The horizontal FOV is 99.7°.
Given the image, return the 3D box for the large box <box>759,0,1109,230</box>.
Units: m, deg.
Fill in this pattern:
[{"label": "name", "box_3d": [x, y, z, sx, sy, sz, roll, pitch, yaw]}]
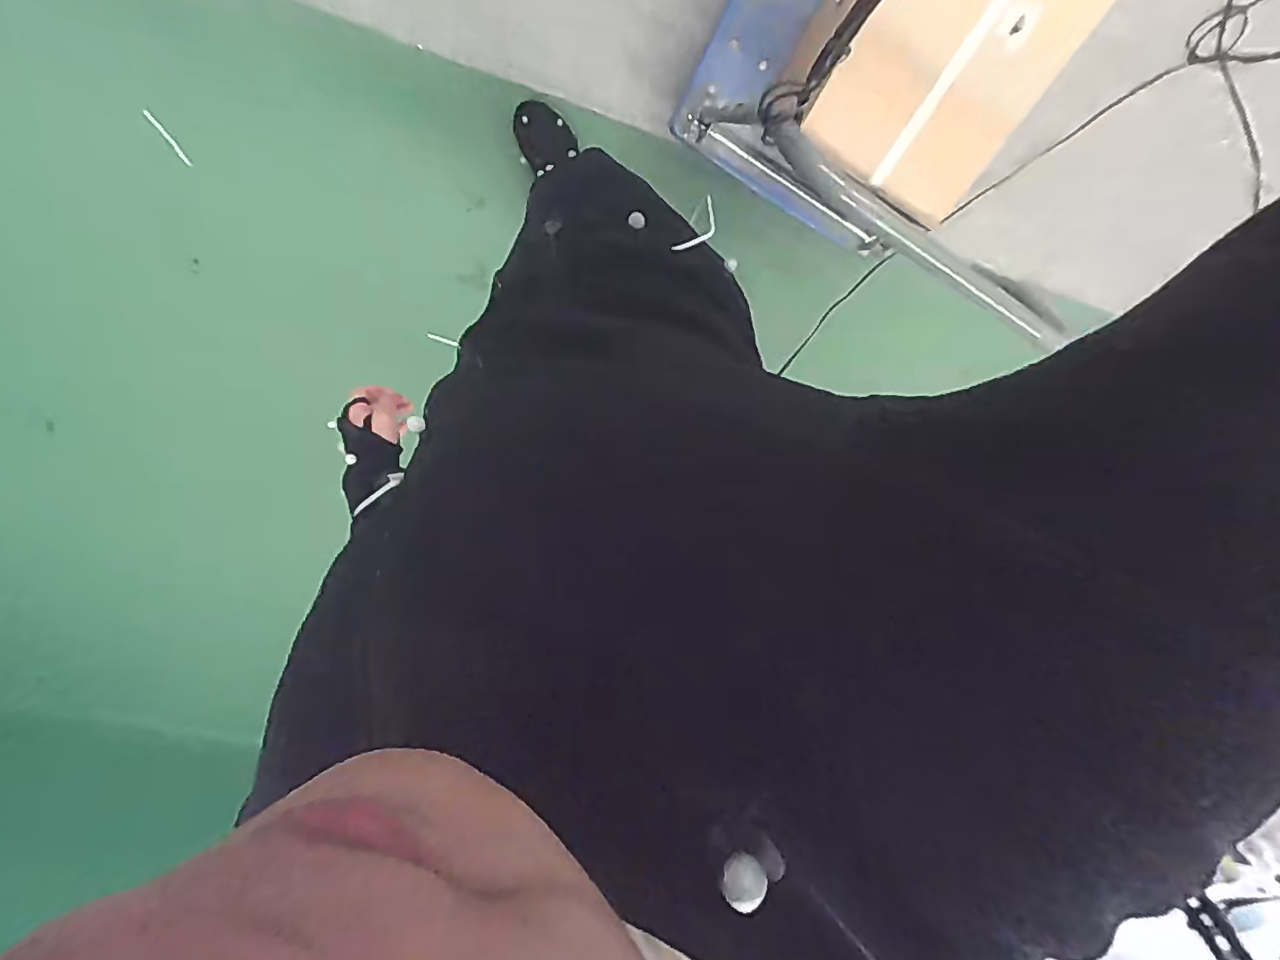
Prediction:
[{"label": "large box", "box_3d": [0.464, -0.722, 0.930, 0.320, 0.320, 0.408, 22, 122, -19]}]
